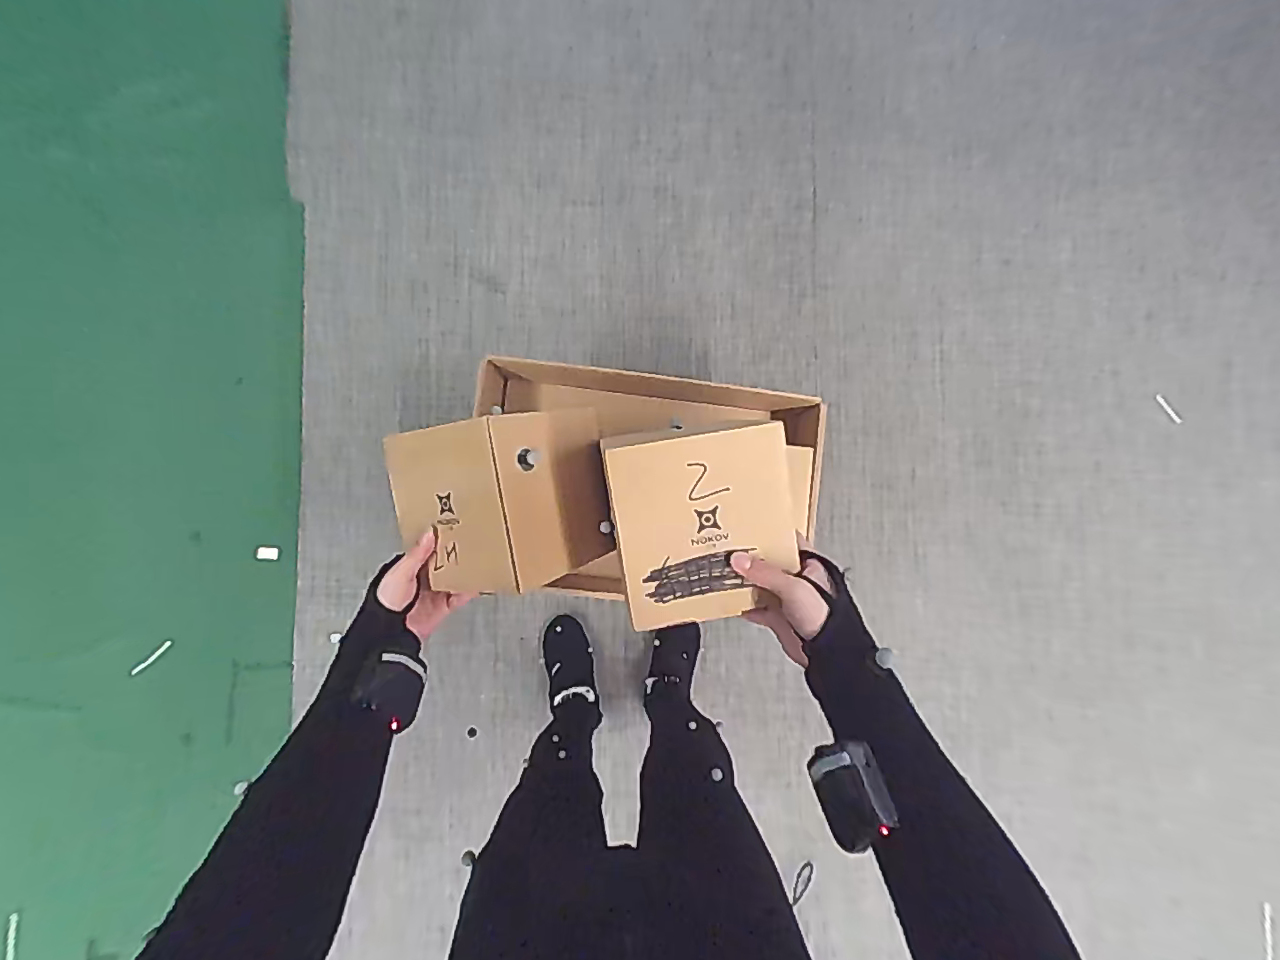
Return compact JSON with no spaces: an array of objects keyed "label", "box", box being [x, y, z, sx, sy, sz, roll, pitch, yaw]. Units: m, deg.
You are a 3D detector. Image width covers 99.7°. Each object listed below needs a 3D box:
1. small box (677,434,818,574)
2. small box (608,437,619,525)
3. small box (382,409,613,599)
[{"label":"small box","box":[0.152,0.037,0.820,0.168,0.176,0.179,7,86,-3]},{"label":"small box","box":[-0.131,0.007,0.976,0.179,0.176,0.168,4,87,-3]},{"label":"small box","box":[-0.149,0.017,0.602,0.168,0.176,0.179,-4,98,33]}]
